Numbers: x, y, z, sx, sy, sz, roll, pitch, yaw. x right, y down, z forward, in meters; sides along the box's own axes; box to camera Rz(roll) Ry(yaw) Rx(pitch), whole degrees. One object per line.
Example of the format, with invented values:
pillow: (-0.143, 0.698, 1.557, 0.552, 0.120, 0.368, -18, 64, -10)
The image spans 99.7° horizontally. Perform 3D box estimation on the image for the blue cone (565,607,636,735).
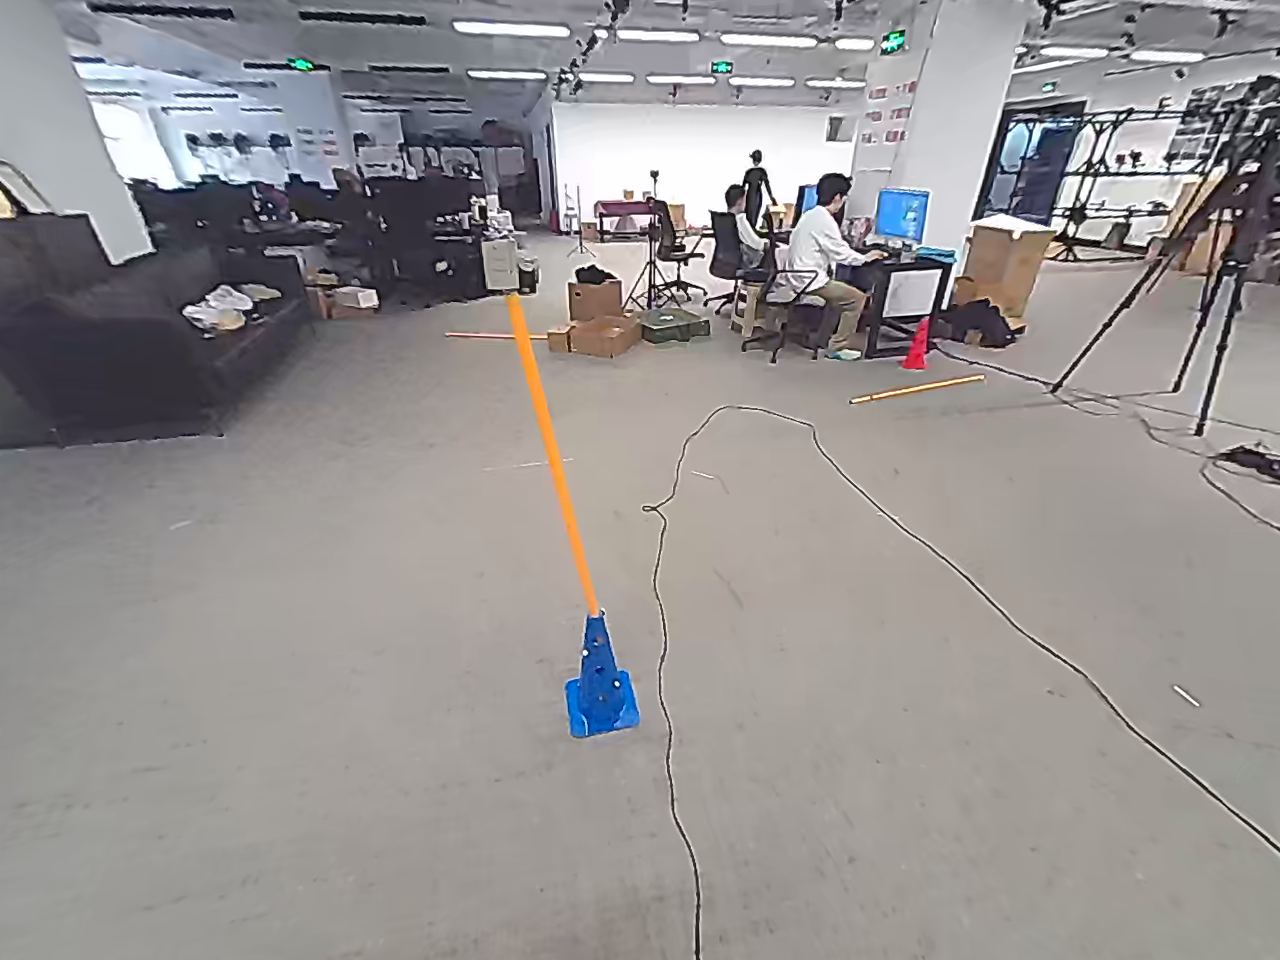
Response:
blue cone: (-0.121, 0.511, 1.504, 0.193, 0.380, 0.192, -9, 31, -12)
